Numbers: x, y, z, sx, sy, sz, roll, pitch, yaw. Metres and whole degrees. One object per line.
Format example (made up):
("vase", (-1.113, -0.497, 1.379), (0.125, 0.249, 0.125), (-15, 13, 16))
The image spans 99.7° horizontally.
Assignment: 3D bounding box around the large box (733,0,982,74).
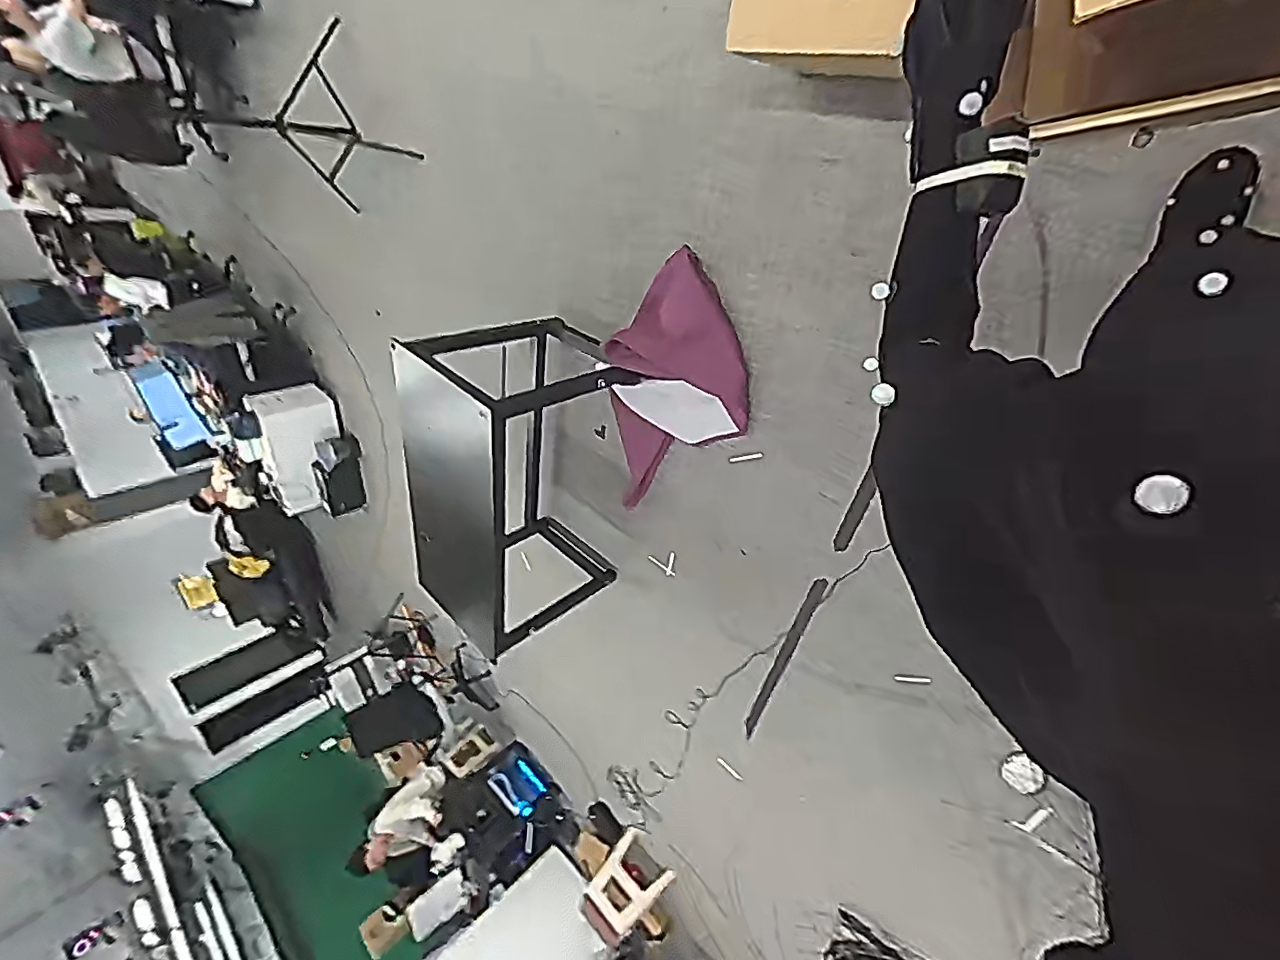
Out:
("large box", (0.459, -1.042, 1.097), (0.408, 0.320, 0.320), (30, 130, 32))
